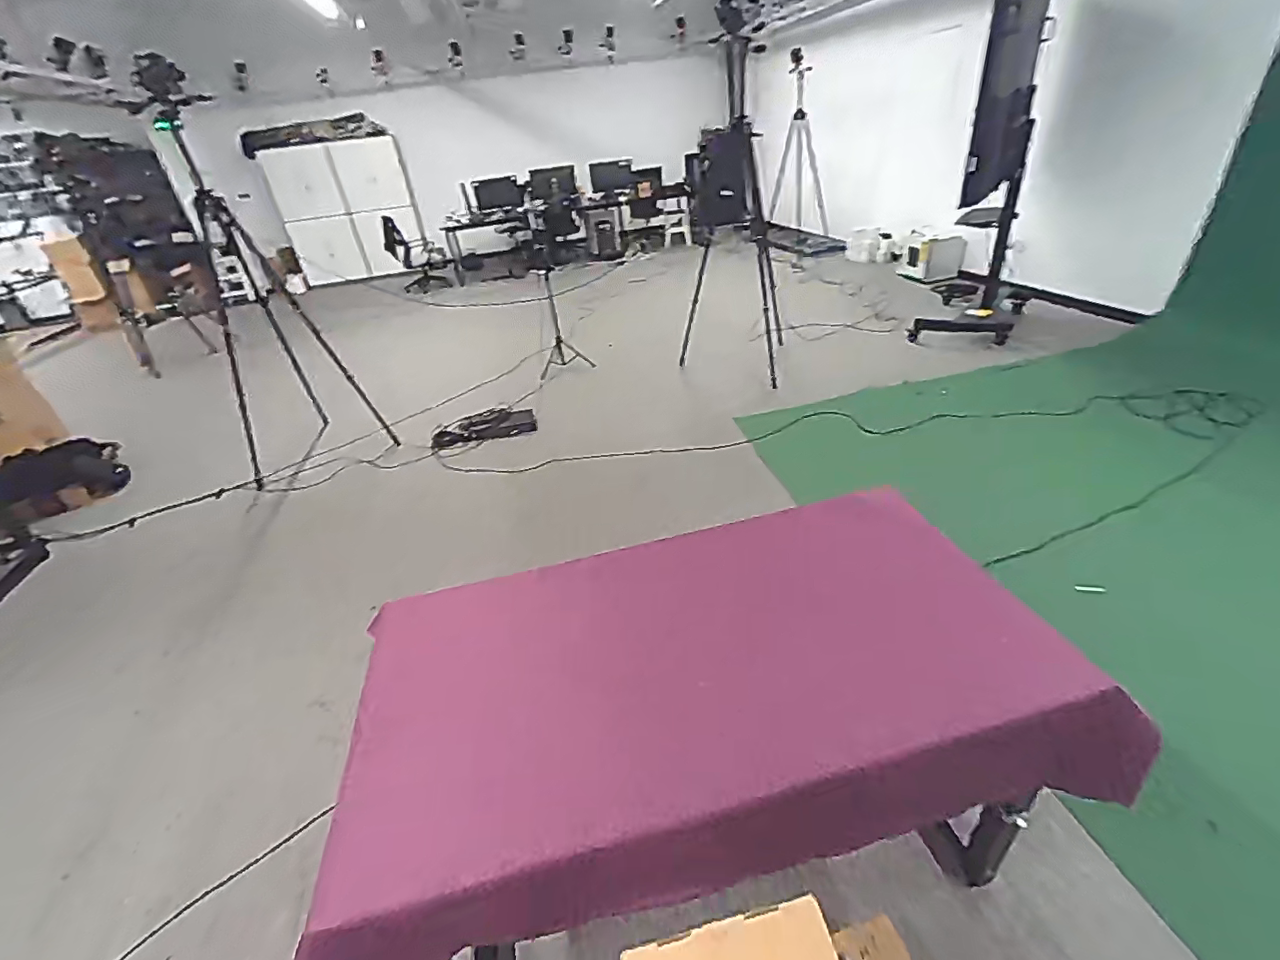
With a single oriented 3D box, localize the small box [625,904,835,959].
[{"bbox_3d":[0.094,0.478,0.424,0.168,0.176,0.179,-14,38,-1],"label":"small box"}]
